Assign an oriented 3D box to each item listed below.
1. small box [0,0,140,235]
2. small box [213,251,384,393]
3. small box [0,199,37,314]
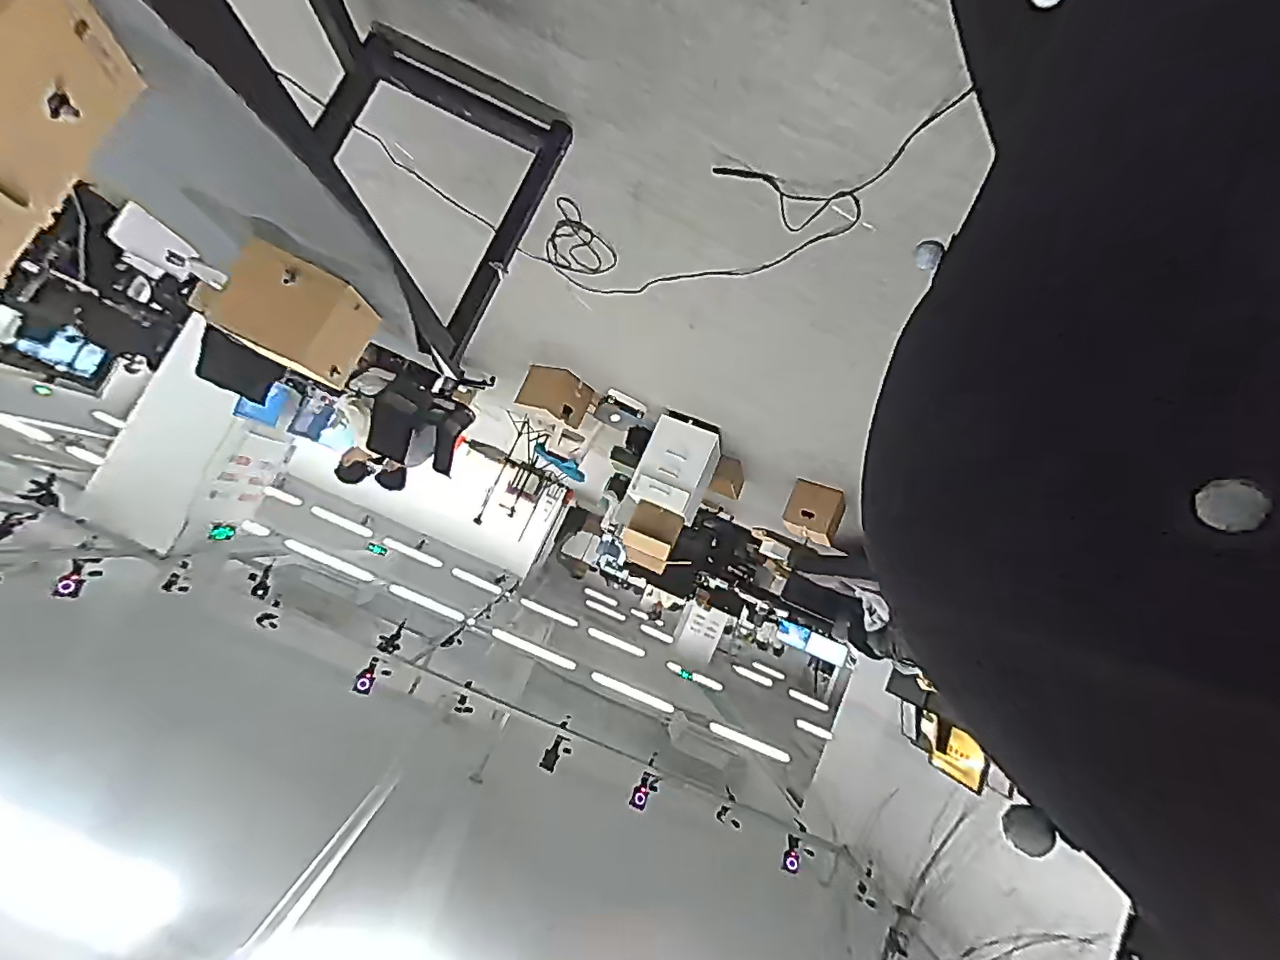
[{"bbox_3d":[-0.546,-0.337,0.419,0.179,0.176,0.168,30,171,-23],"label":"small box"},{"bbox_3d":[-0.613,-0.289,0.995,0.179,0.176,0.168,26,172,-3],"label":"small box"},{"bbox_3d":[-0.603,-0.189,0.379,0.179,0.176,0.168,29,170,-18],"label":"small box"}]
